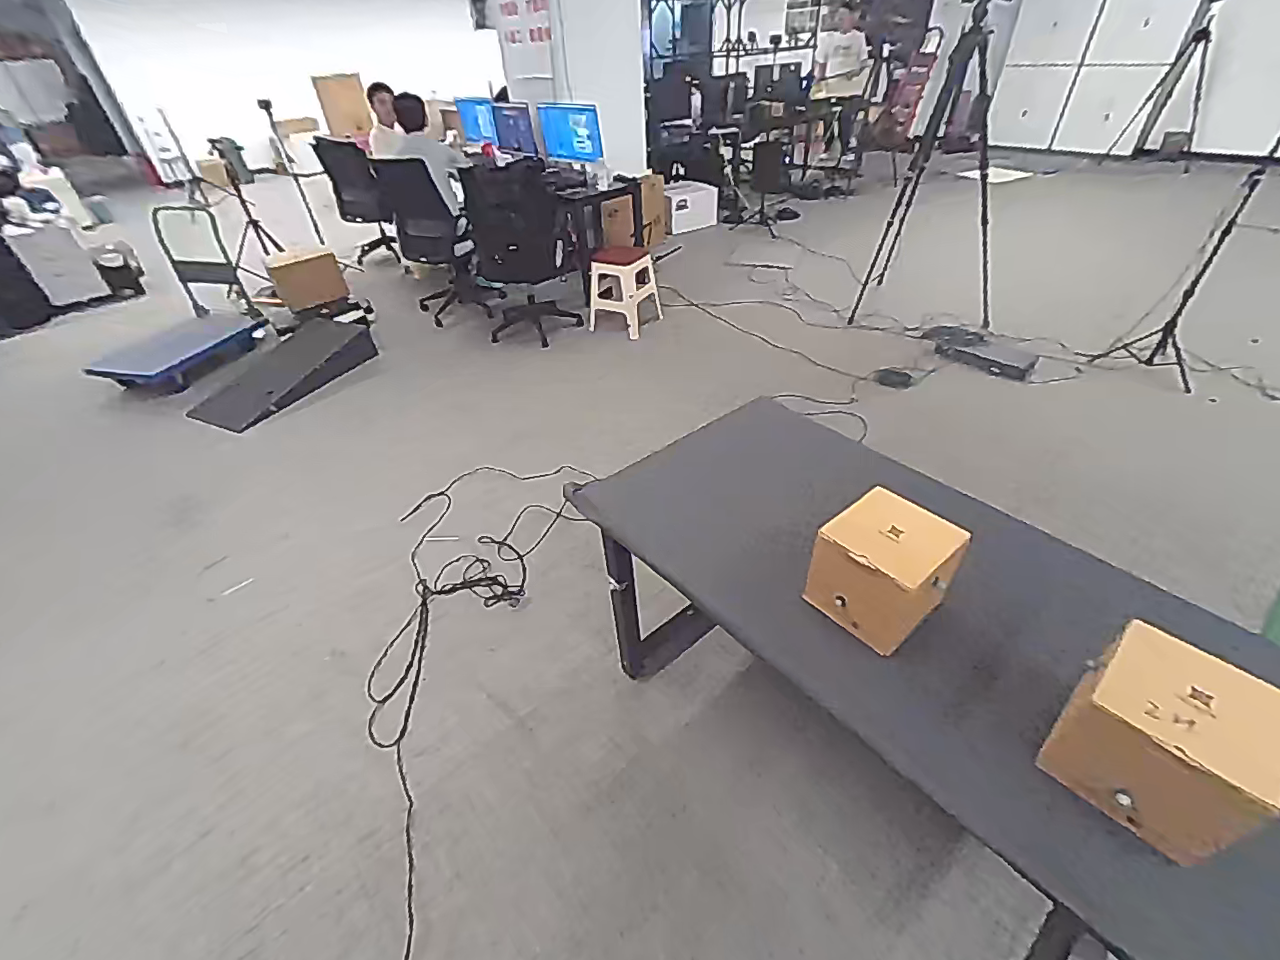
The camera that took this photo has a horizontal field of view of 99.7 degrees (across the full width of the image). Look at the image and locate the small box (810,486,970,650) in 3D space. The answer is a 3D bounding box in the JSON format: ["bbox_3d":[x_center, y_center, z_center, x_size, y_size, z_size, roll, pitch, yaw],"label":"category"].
[{"bbox_3d":[0.409,0.145,0.911,0.179,0.176,0.168,-30,46,-28],"label":"small box"}]

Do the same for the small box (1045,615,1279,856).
[{"bbox_3d":[0.651,0.313,0.675,0.179,0.176,0.168,-31,45,-29],"label":"small box"}]
